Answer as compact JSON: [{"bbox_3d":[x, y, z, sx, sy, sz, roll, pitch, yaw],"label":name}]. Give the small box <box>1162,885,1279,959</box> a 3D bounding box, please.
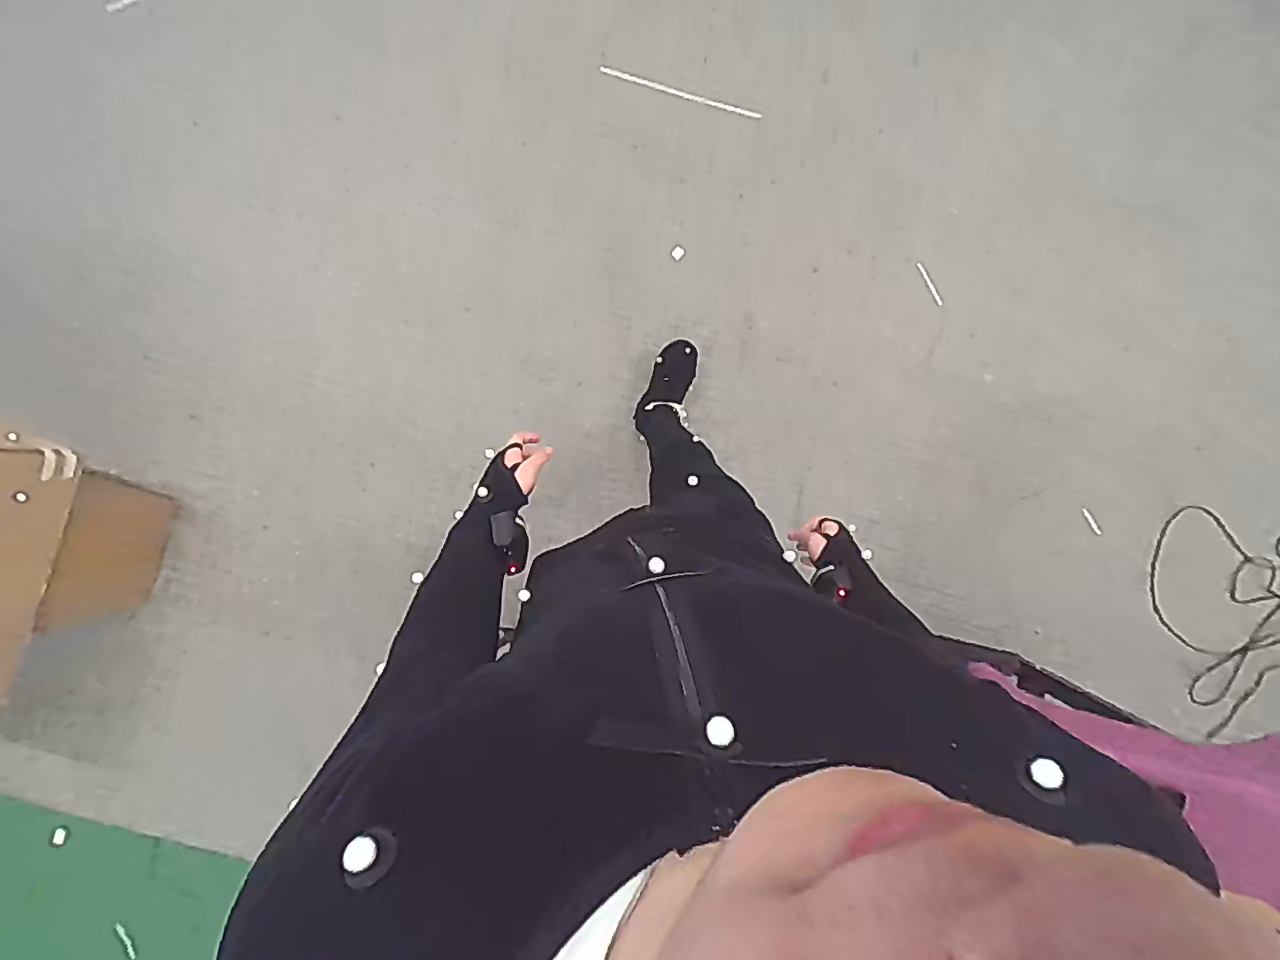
[{"bbox_3d":[0.990,0.785,0.847,0.179,0.176,0.168,14,93,-2],"label":"small box"}]
